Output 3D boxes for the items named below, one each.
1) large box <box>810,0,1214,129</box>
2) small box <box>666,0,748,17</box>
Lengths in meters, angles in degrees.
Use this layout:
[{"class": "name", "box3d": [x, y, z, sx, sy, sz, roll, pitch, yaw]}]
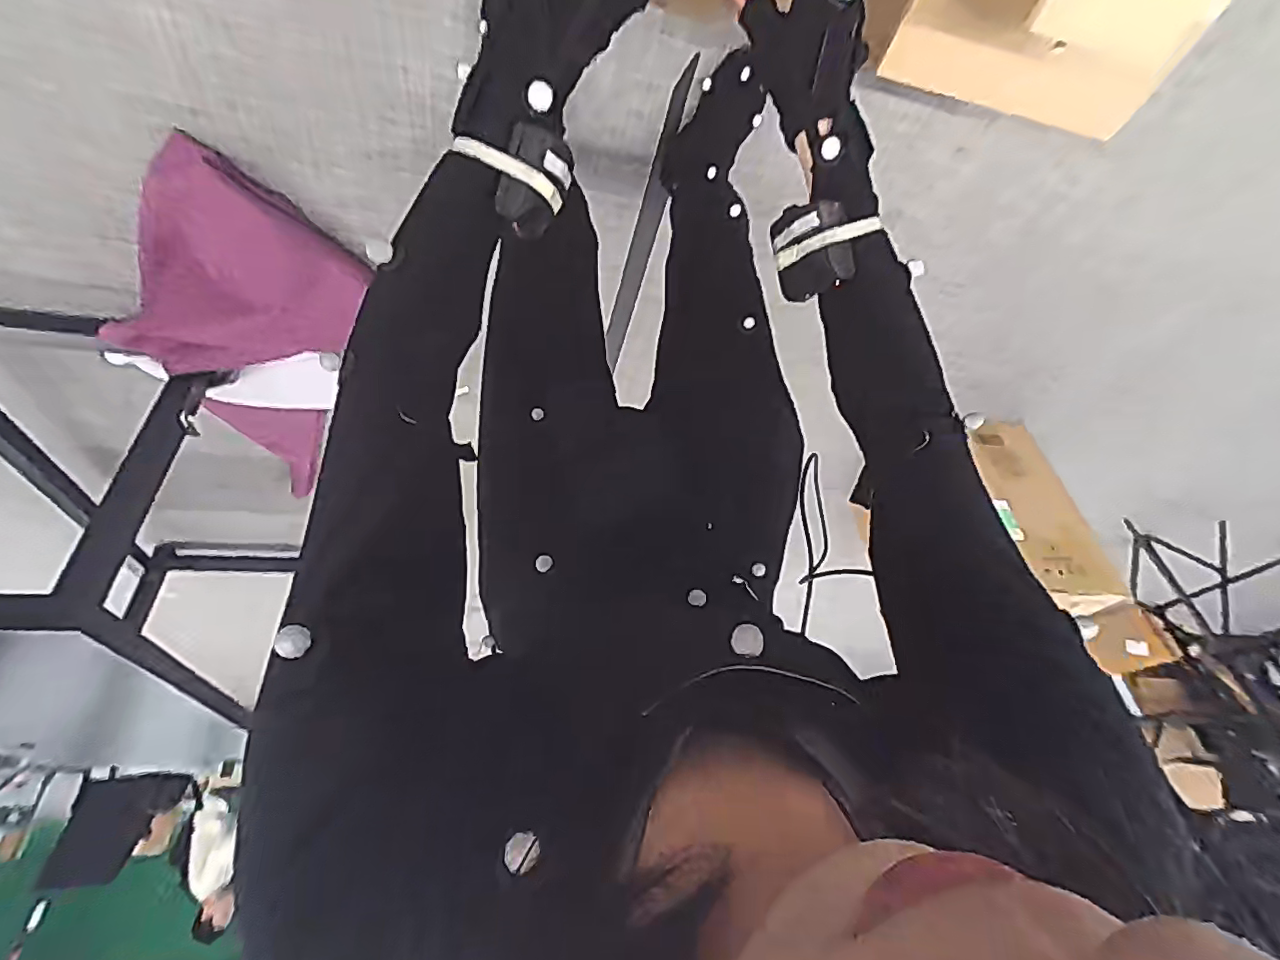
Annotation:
[{"class": "large box", "box3d": [0.506, -0.730, 0.711, 0.408, 0.320, 0.320, 3, 145, -15]}, {"class": "small box", "box3d": [0.039, -0.481, 0.395, 0.168, 0.176, 0.179, 4, 120, -20]}]
